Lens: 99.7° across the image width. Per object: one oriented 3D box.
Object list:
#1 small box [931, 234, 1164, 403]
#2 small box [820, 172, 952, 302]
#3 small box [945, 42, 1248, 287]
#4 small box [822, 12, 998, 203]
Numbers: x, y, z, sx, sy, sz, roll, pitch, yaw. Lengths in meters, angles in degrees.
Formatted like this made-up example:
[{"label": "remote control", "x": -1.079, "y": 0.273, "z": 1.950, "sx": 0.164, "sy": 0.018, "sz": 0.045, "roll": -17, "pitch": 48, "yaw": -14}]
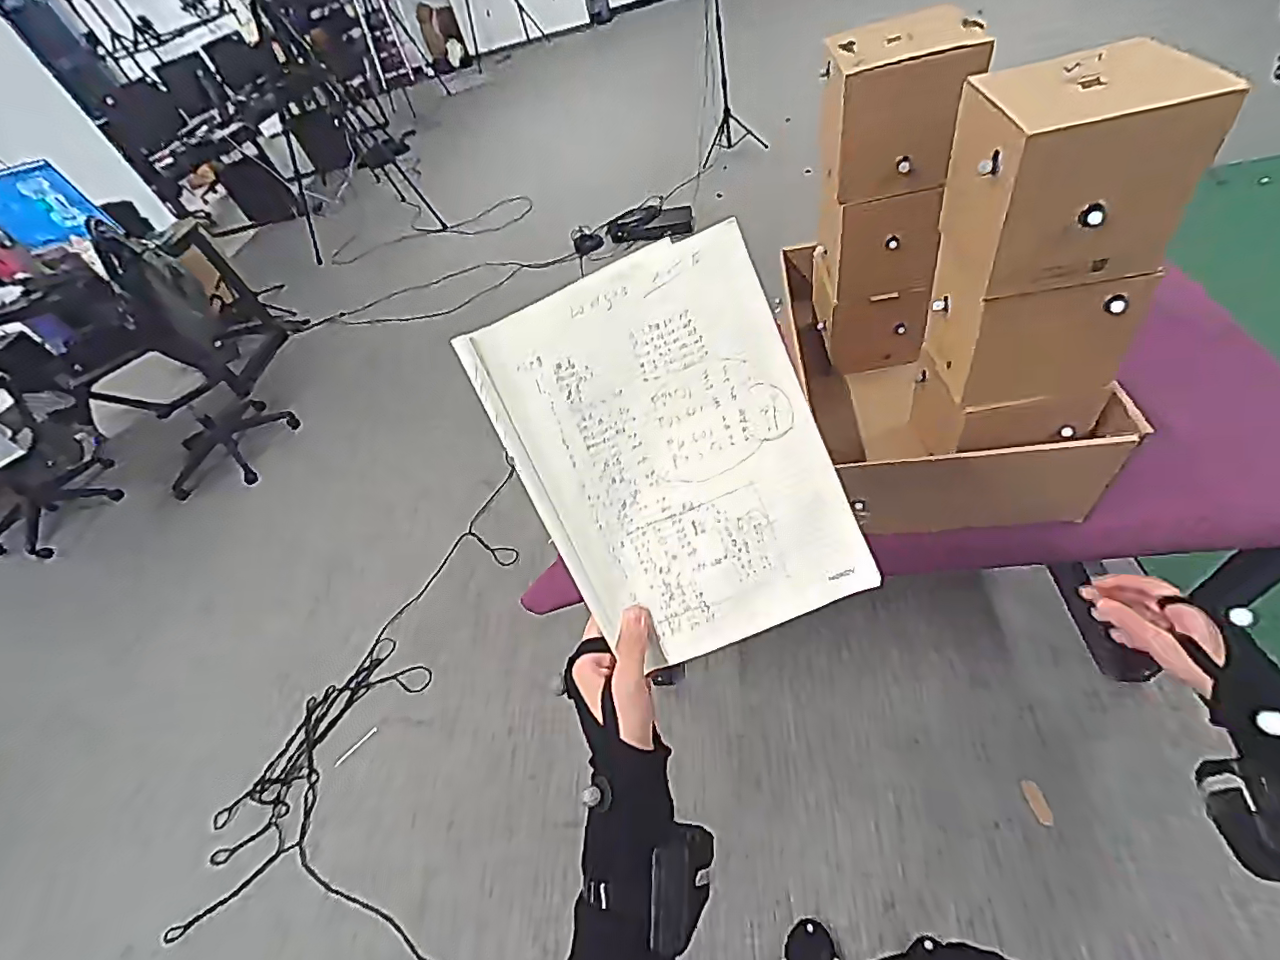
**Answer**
[{"label": "small box", "x": 0.490, "y": -0.215, "z": 0.692, "sx": 0.179, "sy": 0.176, "sz": 0.168, "roll": -5, "pitch": 48, "yaw": 12}, {"label": "small box", "x": 0.406, "y": -0.423, "z": 0.899, "sx": 0.179, "sy": 0.176, "sz": 0.168, "roll": -7, "pitch": 50, "yaw": 10}, {"label": "small box", "x": 0.447, "y": -0.321, "z": 0.573, "sx": 0.168, "sy": 0.176, "sz": 0.179, "roll": -5, "pitch": 48, "yaw": 12}, {"label": "small box", "x": 0.369, "y": -0.528, "z": 0.777, "sx": 0.179, "sy": 0.176, "sz": 0.168, "roll": -5, "pitch": 50, "yaw": 11}]
